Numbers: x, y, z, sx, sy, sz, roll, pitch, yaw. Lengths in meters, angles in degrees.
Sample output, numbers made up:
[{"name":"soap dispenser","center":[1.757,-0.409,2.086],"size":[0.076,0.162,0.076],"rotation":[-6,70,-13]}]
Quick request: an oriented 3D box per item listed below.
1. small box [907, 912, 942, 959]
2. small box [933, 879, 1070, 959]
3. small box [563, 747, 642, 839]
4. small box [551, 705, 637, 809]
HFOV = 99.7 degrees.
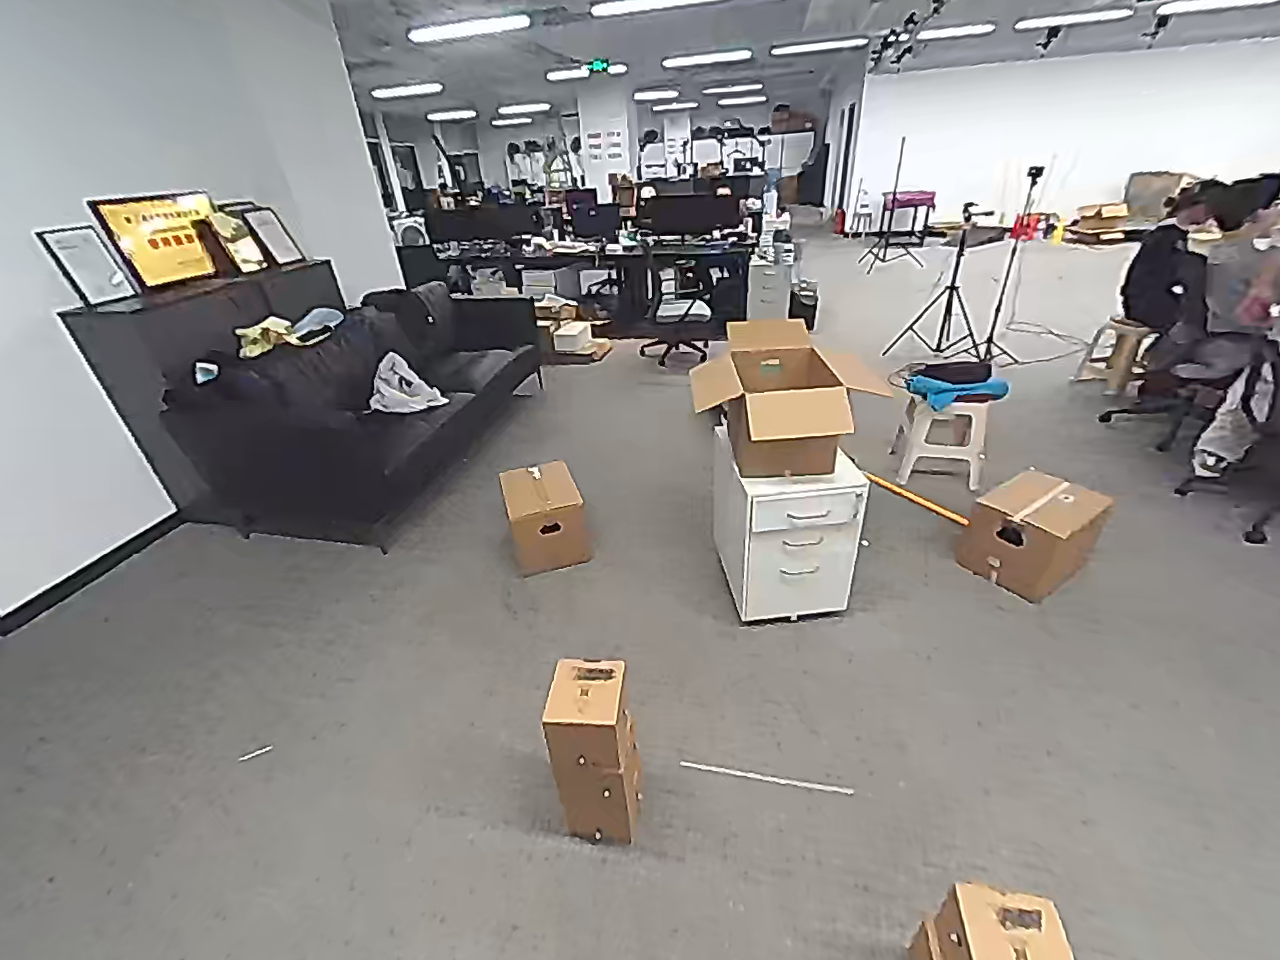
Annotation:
[{"name":"small box","center":[0.644,1.003,1.064],"size":[0.168,0.176,0.179],"rotation":[3,32,11]},{"name":"small box","center":[0.648,0.867,0.971],"size":[0.168,0.176,0.179],"rotation":[2,33,12]},{"name":"small box","center":[-0.093,0.833,1.456],"size":[0.179,0.176,0.168],"rotation":[3,31,11]},{"name":"small box","center":[-0.106,0.699,1.364],"size":[0.179,0.176,0.168],"rotation":[0,30,10]}]
